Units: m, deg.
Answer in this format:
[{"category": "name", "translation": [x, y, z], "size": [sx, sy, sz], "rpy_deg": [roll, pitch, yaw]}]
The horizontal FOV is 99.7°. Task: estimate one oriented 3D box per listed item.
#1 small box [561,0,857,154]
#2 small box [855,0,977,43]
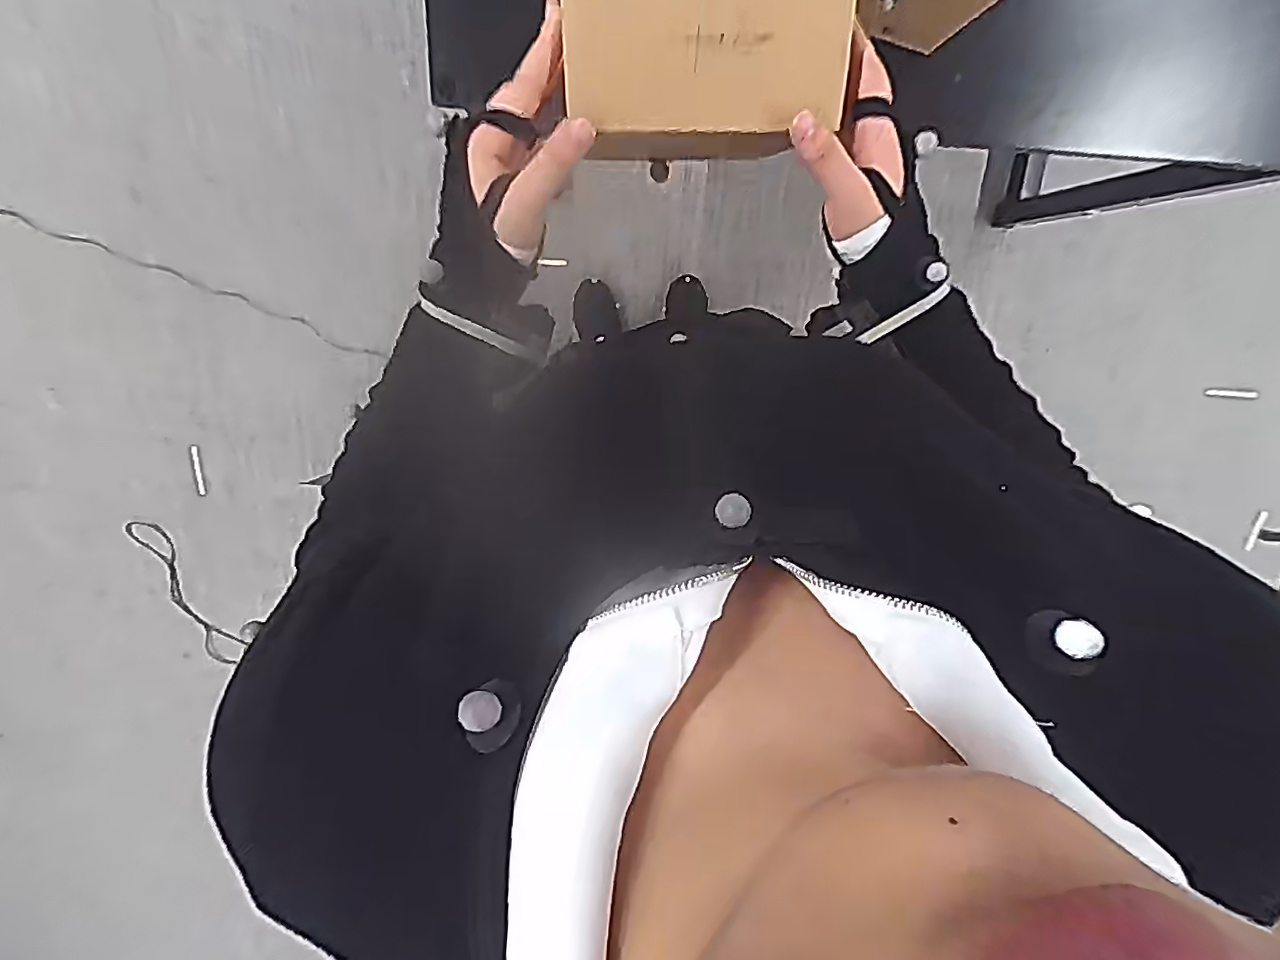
[{"category": "small box", "translation": [0.032, -0.326, 0.353], "size": [0.168, 0.176, 0.179], "rpy_deg": [-3, 116, -4]}, {"category": "small box", "translation": [0.271, -0.557, 0.502], "size": [0.168, 0.176, 0.179], "rpy_deg": [12, 107, -8]}]
